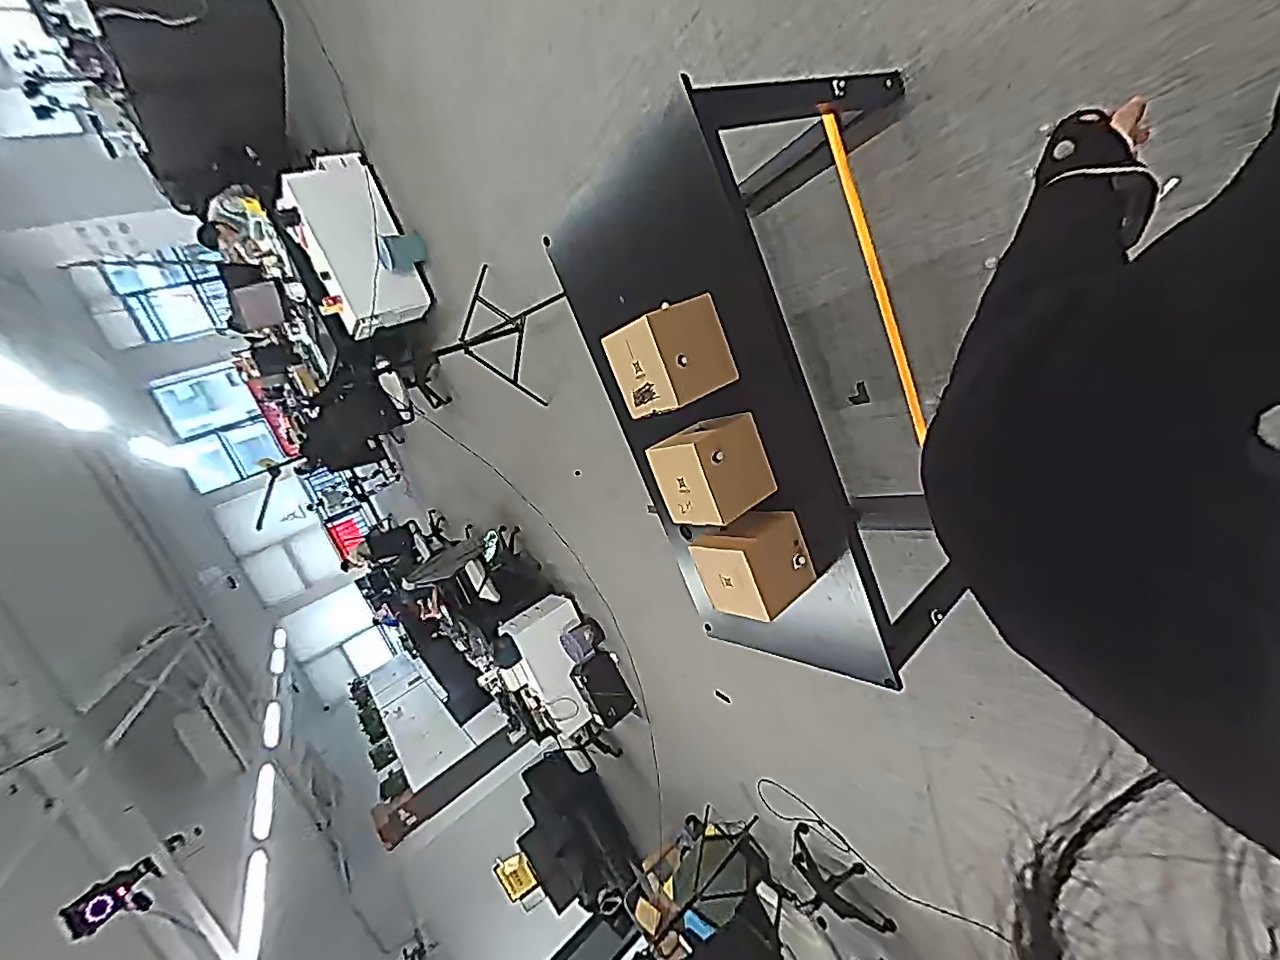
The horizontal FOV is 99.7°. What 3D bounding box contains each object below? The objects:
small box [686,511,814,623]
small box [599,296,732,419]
[{"bbox_3d":[0.235,0.176,1.153,0.179,0.176,0.168,-6,111,57],"label":"small box"},{"bbox_3d":[0.054,-0.240,1.070,0.168,0.176,0.179,-4,111,57],"label":"small box"}]
